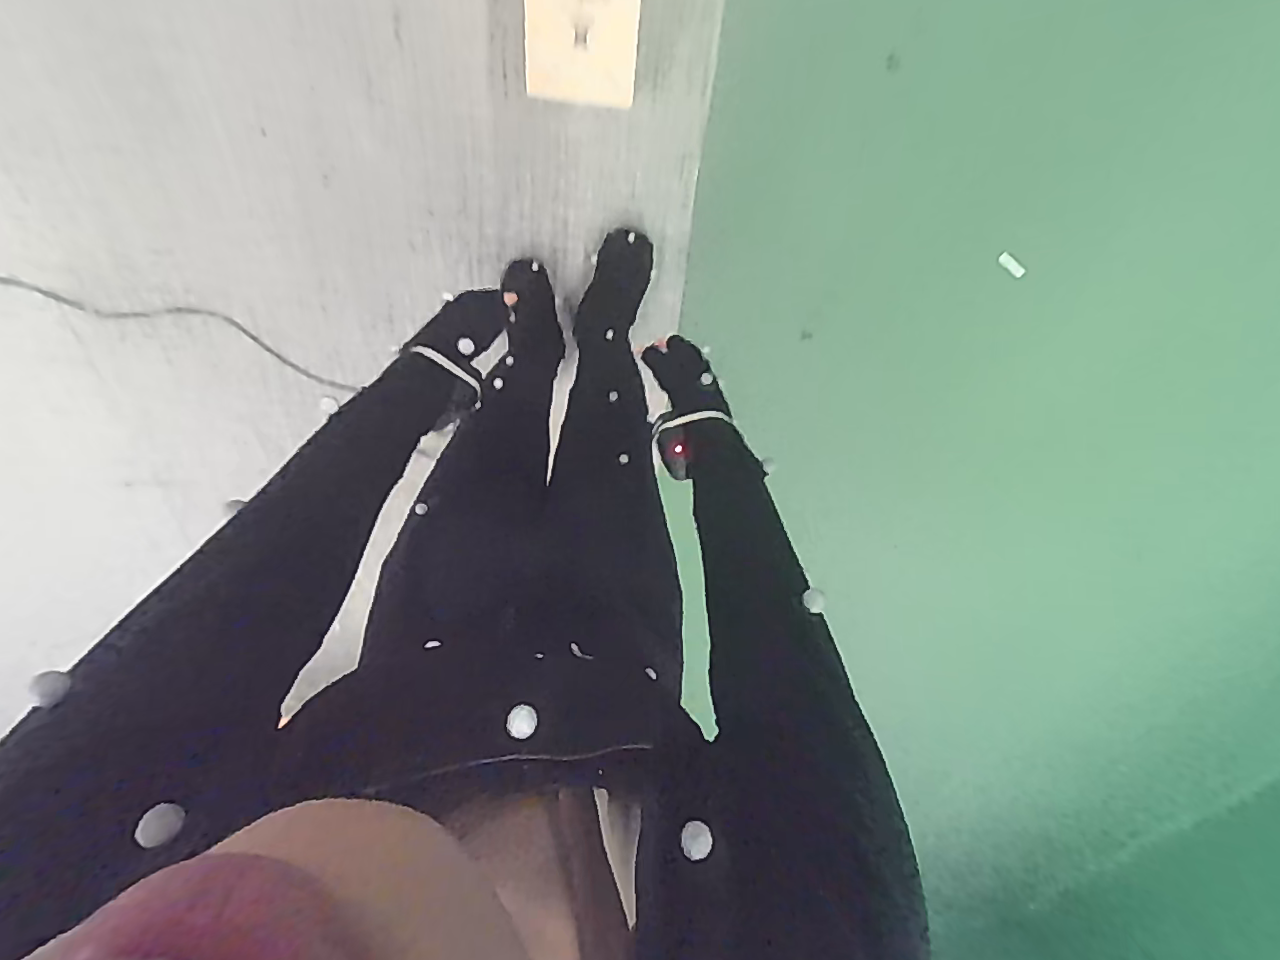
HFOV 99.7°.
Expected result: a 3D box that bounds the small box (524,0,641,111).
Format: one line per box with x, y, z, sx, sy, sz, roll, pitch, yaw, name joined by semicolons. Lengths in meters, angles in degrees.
-0.086;-0.696;0.843;0.168;0.176;0.179;4;127;-5;small box
